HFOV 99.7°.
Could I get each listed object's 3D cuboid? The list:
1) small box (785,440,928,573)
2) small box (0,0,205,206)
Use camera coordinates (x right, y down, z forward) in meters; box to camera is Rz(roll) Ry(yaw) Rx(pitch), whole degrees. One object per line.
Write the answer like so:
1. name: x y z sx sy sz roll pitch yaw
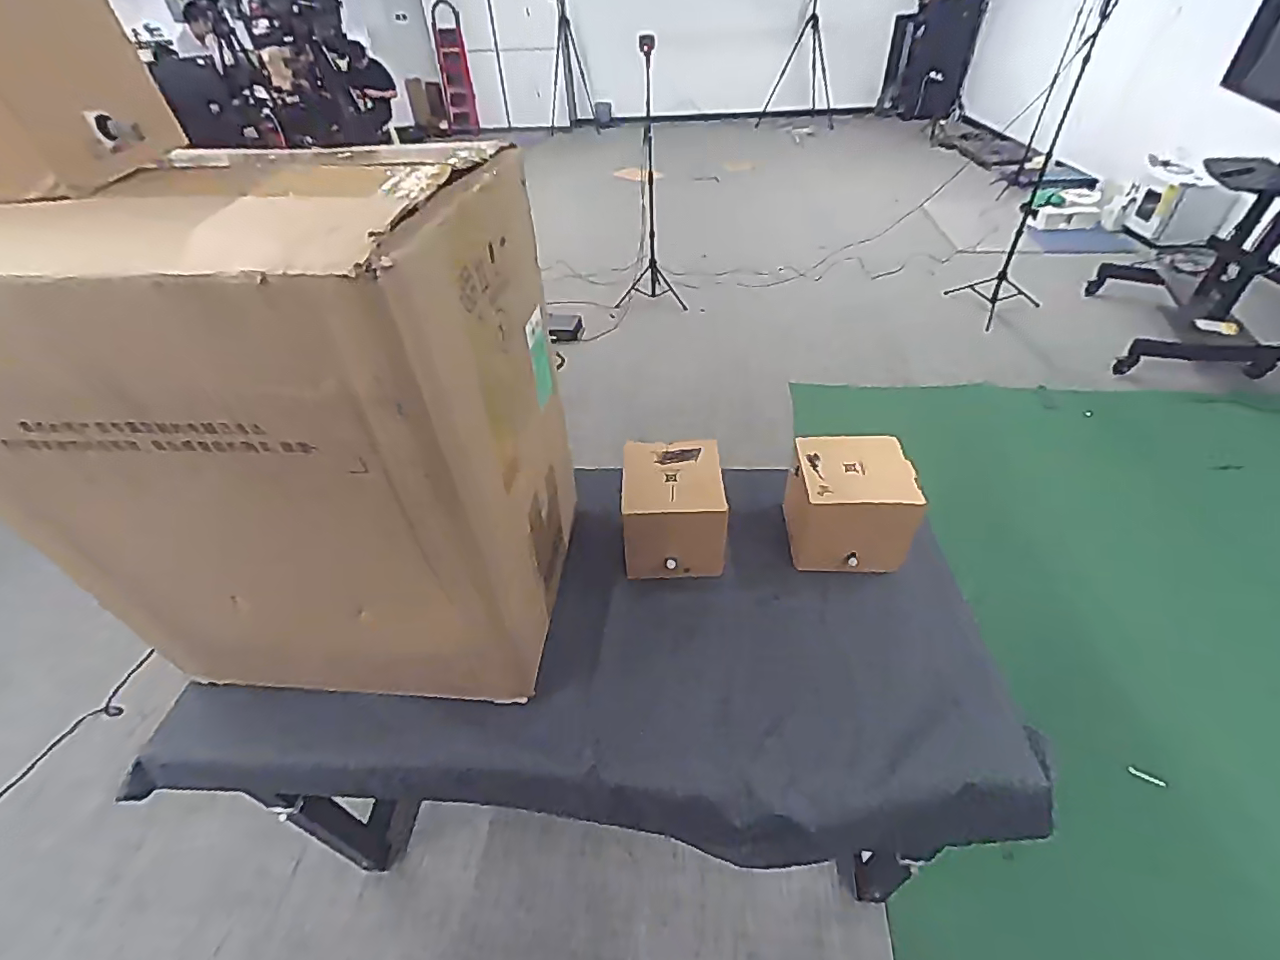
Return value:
1. small box: 0.362 0.047 0.942 0.179 0.176 0.168 1 42 4
2. small box: -0.555 -0.357 0.477 0.179 0.176 0.168 -1 47 1
